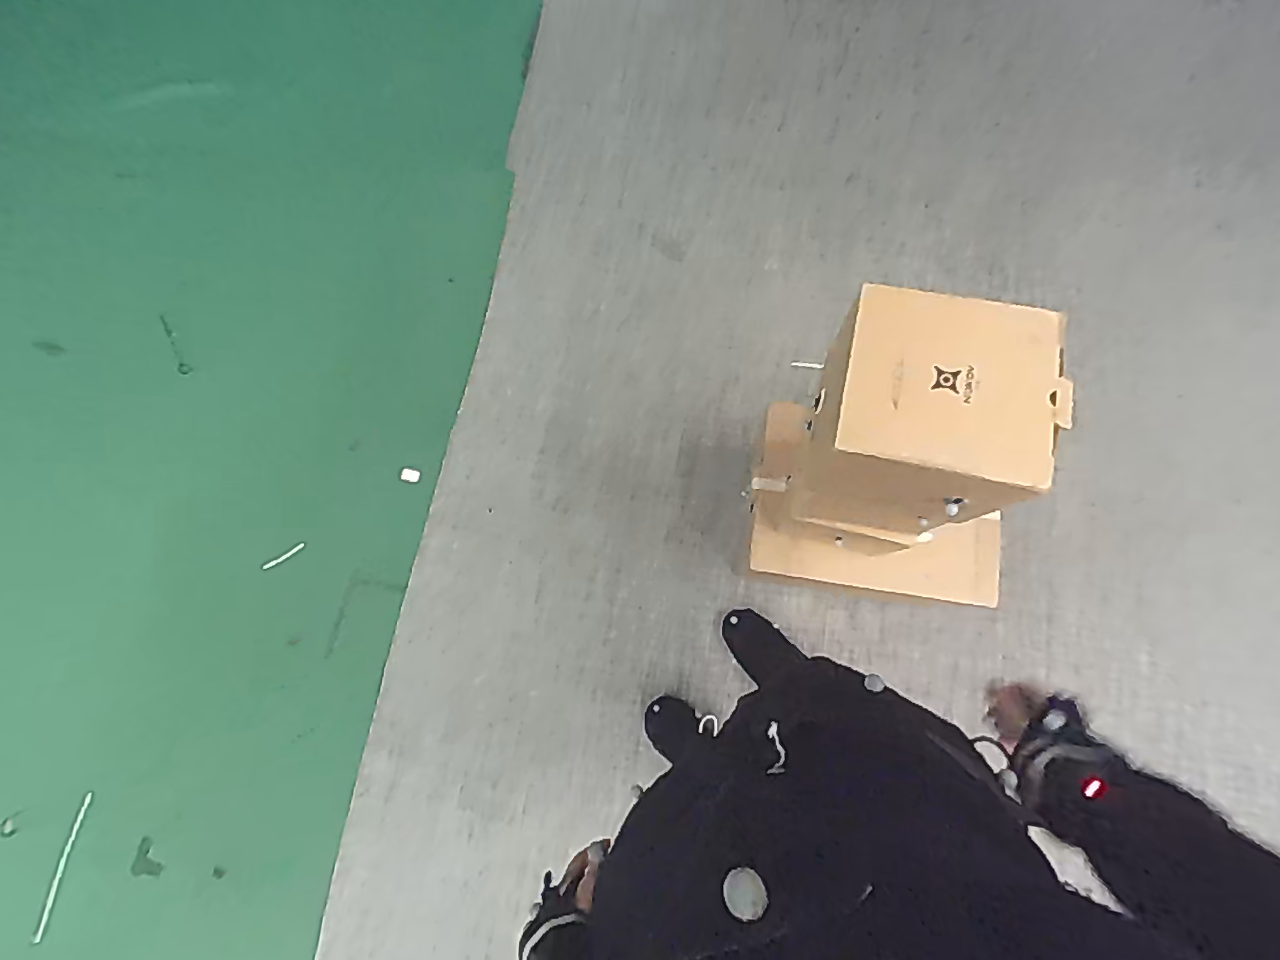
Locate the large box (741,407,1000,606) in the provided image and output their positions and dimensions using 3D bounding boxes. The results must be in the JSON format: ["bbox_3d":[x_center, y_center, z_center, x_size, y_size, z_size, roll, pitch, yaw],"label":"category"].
[{"bbox_3d":[0.427,0.069,1.083,0.408,0.320,0.320,8,79,7],"label":"large box"}]

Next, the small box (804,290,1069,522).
[{"bbox_3d":[0.279,-0.061,0.542,0.179,0.176,0.168,12,77,10],"label":"small box"}]

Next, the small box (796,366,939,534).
[{"bbox_3d":[0.307,-0.030,0.699,0.179,0.176,0.168,9,78,8],"label":"small box"}]
